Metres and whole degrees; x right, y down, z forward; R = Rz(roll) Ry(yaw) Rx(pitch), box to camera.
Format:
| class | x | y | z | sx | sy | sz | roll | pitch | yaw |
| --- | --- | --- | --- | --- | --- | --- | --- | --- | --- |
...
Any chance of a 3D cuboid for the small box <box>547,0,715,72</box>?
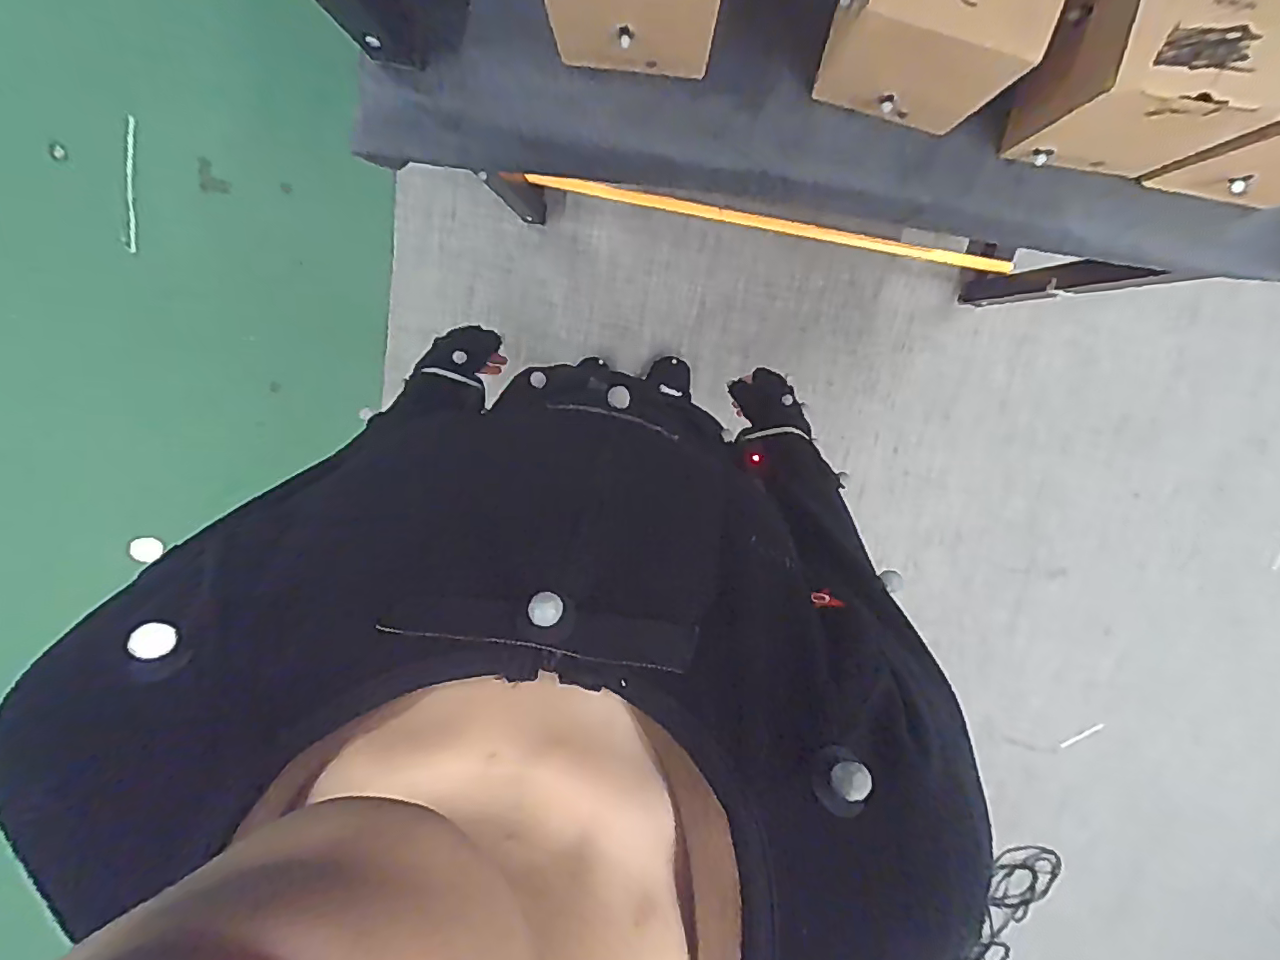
| class | x | y | z | sx | sy | sz | roll | pitch | yaw |
| --- | --- | --- | --- | --- | --- | --- | --- | --- | --- |
| small box | -0.002 | -0.537 | 0.524 | 0.168 | 0.176 | 0.179 | 5 | 103 | -1 |
